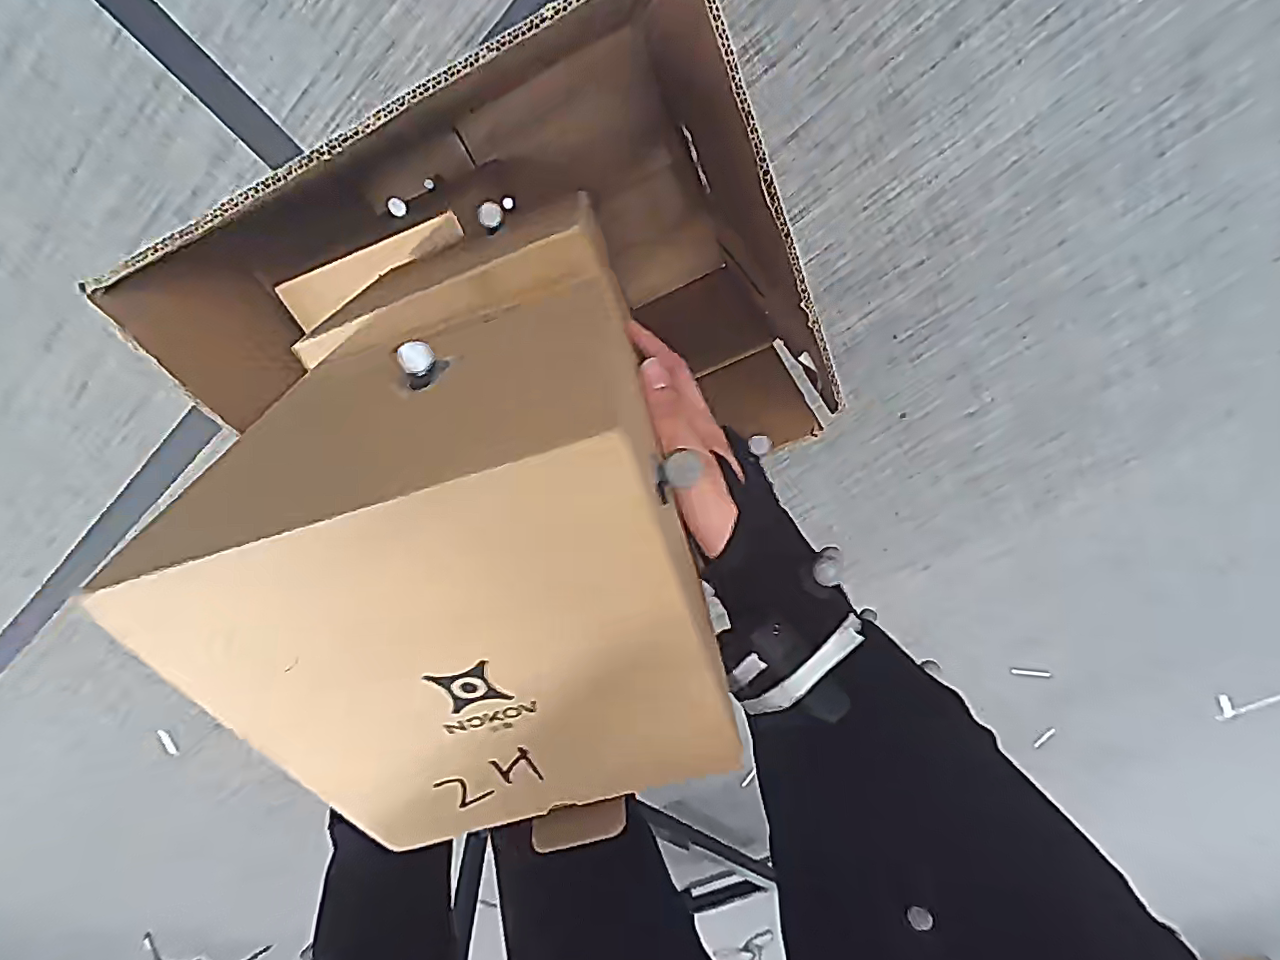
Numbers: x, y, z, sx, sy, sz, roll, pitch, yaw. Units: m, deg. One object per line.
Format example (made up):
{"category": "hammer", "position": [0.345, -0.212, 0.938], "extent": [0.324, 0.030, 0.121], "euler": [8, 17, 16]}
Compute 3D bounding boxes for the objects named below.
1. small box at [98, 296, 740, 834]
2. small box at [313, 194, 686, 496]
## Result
{"category": "small box", "position": [-0.063, 0.027, 0.259], "extent": [0.168, 0.176, 0.179], "euler": [-15, 124, 6]}
{"category": "small box", "position": [-0.076, -0.079, 0.387], "extent": [0.168, 0.176, 0.179], "euler": [-18, 123, 6]}
